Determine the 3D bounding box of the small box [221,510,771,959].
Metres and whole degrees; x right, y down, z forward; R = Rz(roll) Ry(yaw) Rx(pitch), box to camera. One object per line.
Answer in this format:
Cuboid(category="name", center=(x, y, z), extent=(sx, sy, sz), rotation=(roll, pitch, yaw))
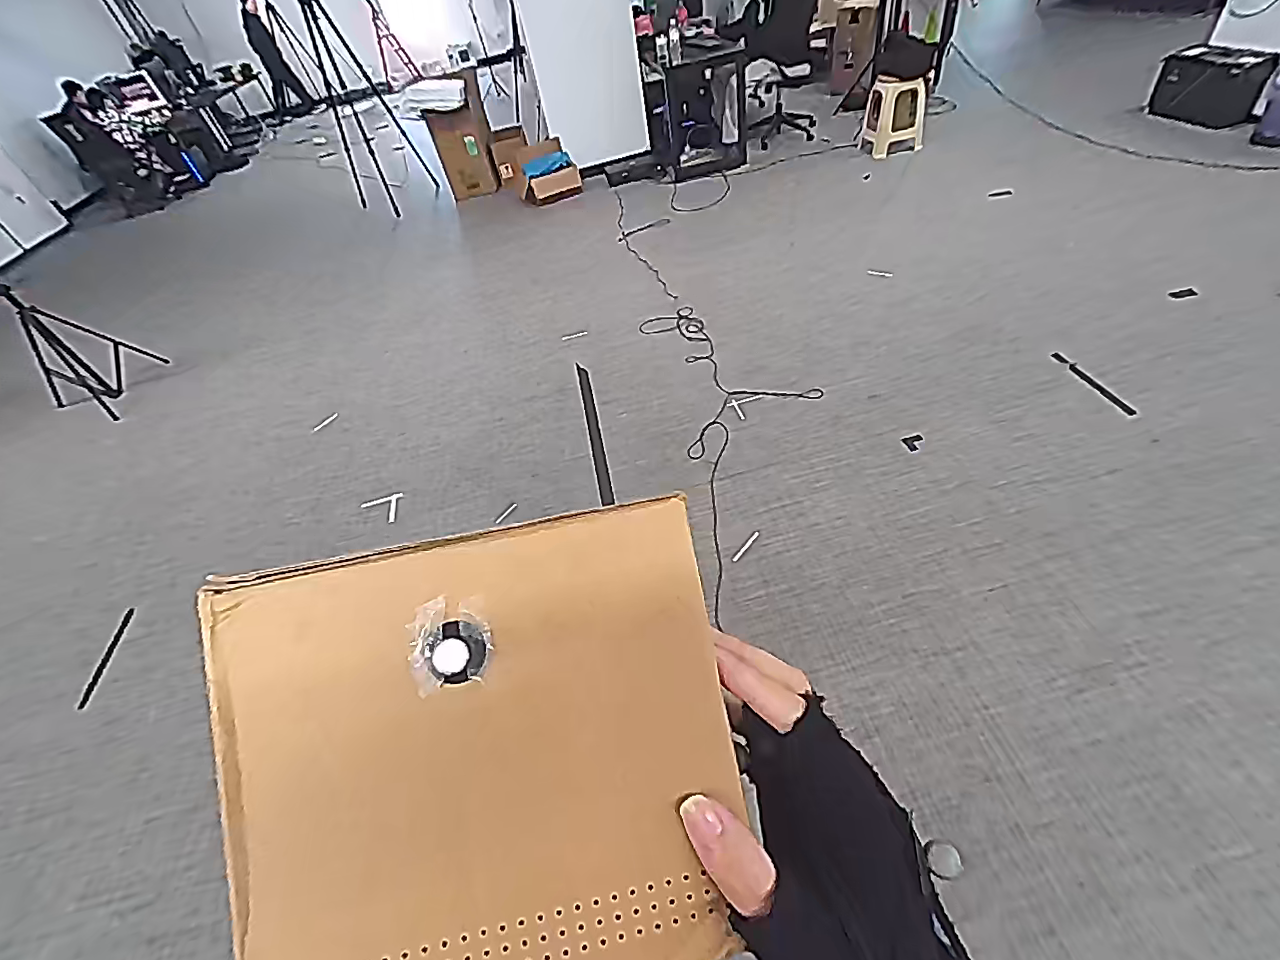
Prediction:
Cuboid(category="small box", center=(-0.056, 0.118, 0.268), extent=(0.179, 0.168, 0.176), rotation=(-10, 84, -6))
